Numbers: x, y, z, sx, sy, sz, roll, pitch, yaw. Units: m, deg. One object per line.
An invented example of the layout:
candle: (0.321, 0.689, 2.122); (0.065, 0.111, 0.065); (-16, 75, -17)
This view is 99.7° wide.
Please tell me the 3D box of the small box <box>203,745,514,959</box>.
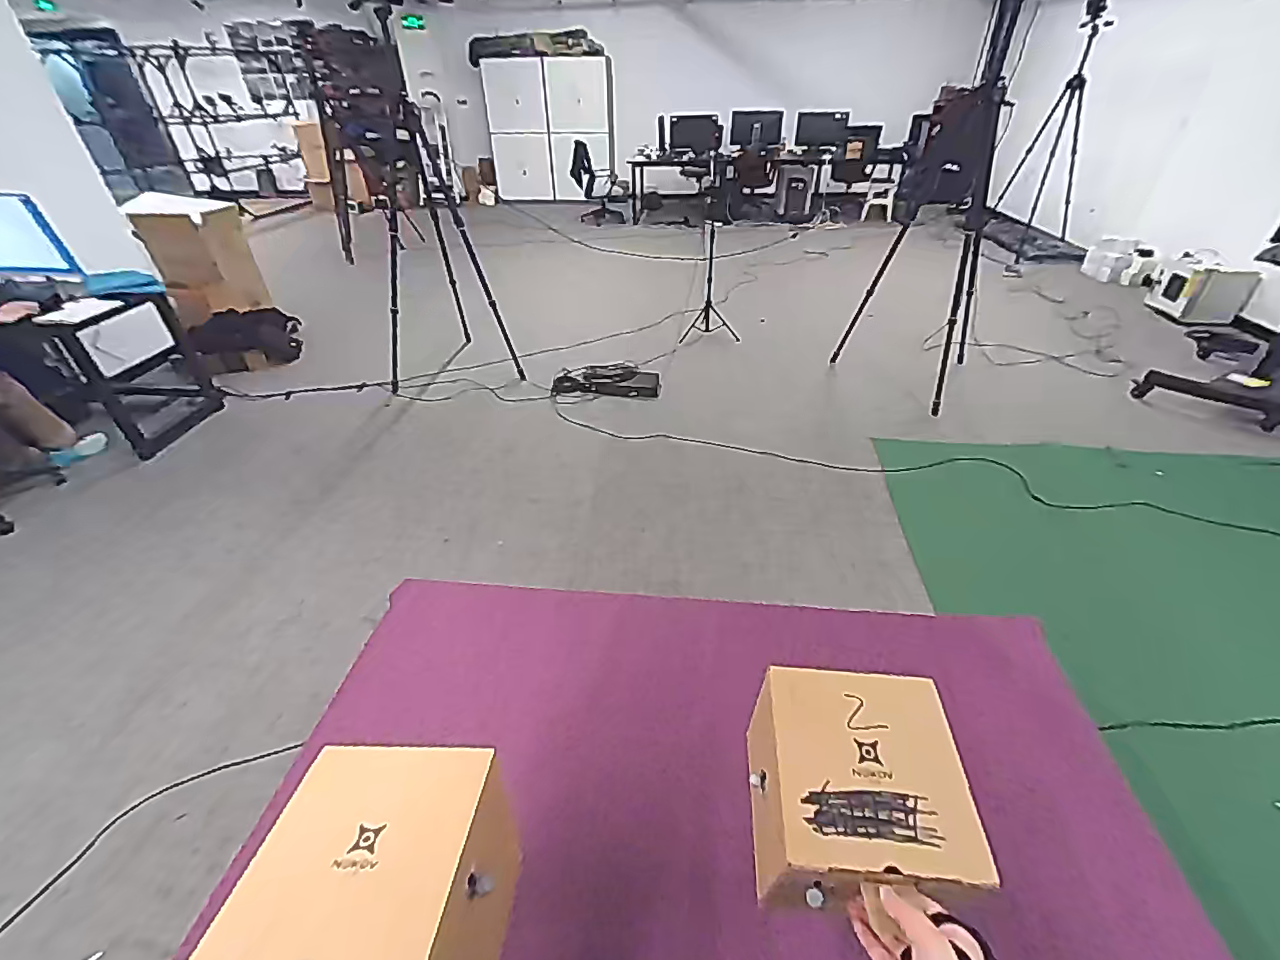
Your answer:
small box: (-0.217, 0.367, 0.478); (0.168, 0.176, 0.179); (-1, 28, 3)
